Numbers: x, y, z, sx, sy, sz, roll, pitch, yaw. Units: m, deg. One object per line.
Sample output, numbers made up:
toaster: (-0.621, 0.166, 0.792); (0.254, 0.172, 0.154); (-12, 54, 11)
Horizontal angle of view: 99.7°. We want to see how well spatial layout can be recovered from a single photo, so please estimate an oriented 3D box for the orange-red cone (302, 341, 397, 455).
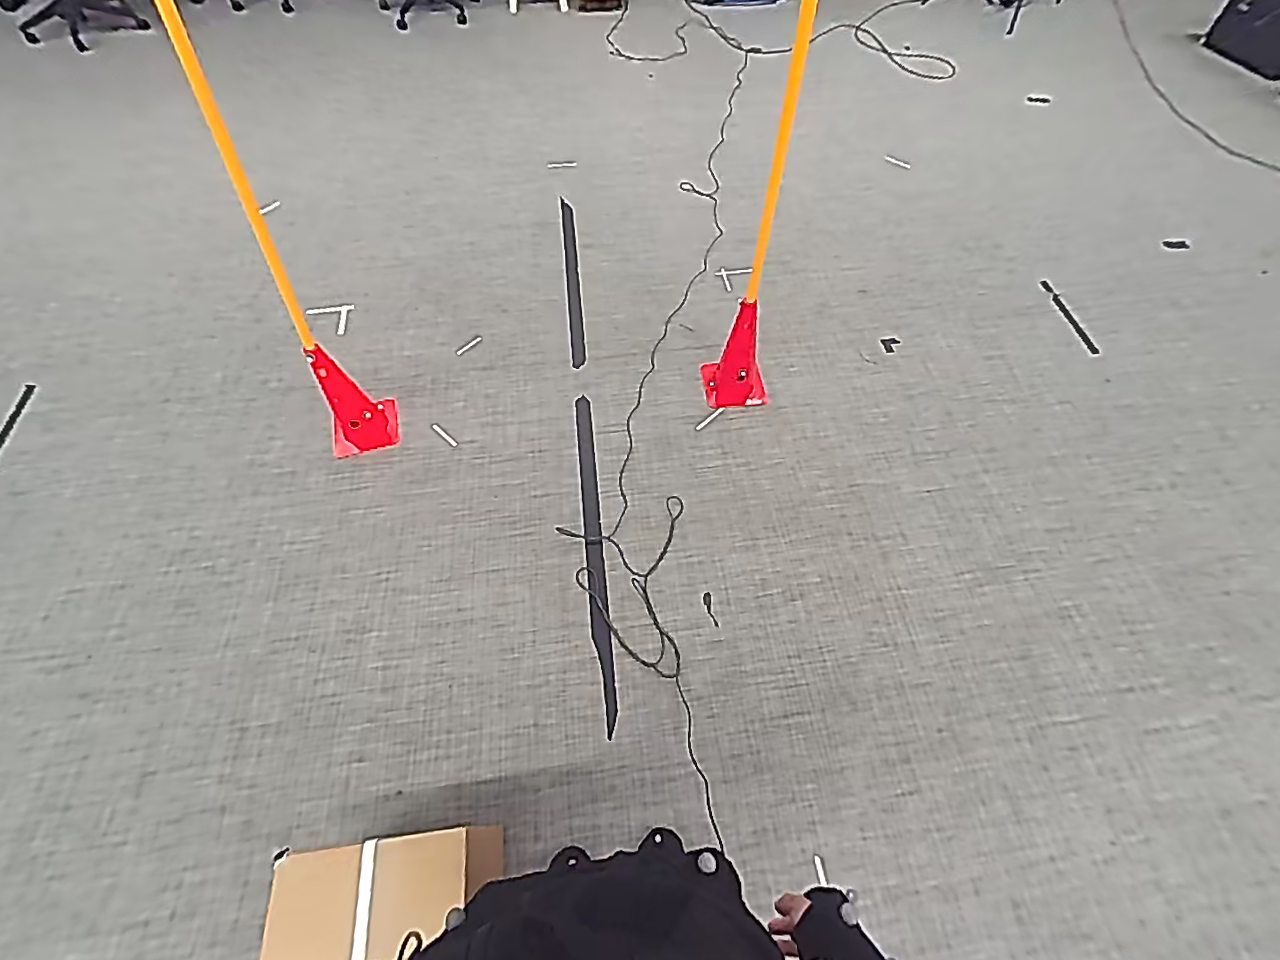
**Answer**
orange-red cone: (-0.880, -0.262, 1.582); (0.199, 0.360, 0.198); (-14, 59, -8)
